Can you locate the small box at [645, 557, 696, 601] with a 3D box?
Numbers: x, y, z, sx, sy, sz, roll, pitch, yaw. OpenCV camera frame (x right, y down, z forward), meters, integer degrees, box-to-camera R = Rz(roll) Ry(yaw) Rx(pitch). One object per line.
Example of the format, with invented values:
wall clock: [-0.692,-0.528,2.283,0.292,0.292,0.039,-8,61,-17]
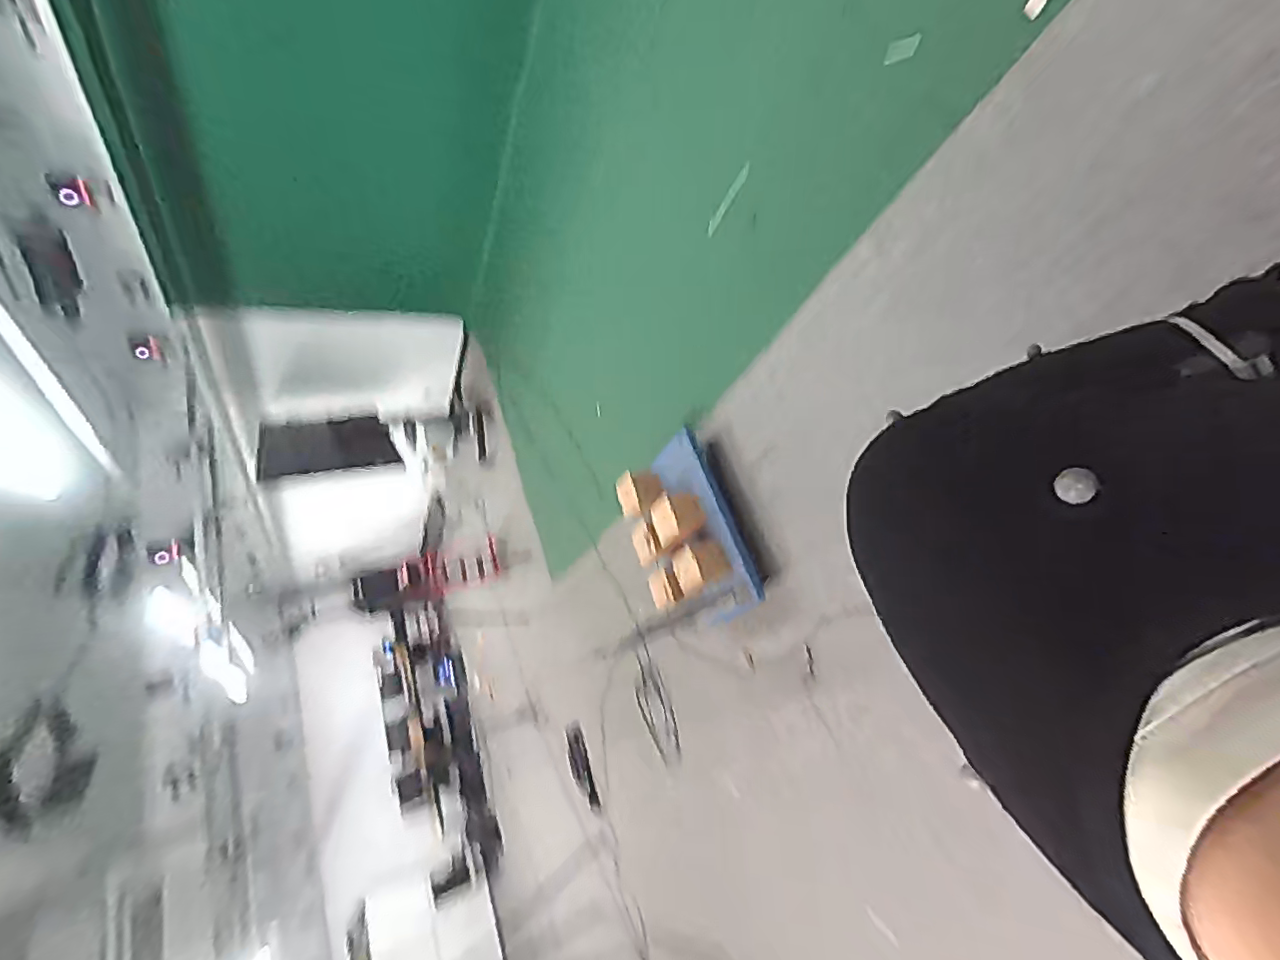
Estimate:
small box: [0.154,0.467,2.613,0.179,0.176,0.168,-45,59,54]

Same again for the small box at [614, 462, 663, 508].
small box: [-0.007,0.021,2.760,0.168,0.176,0.179,-43,62,53]

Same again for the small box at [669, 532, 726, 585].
small box: [0.262,0.347,2.406,0.179,0.176,0.168,-51,55,51]
